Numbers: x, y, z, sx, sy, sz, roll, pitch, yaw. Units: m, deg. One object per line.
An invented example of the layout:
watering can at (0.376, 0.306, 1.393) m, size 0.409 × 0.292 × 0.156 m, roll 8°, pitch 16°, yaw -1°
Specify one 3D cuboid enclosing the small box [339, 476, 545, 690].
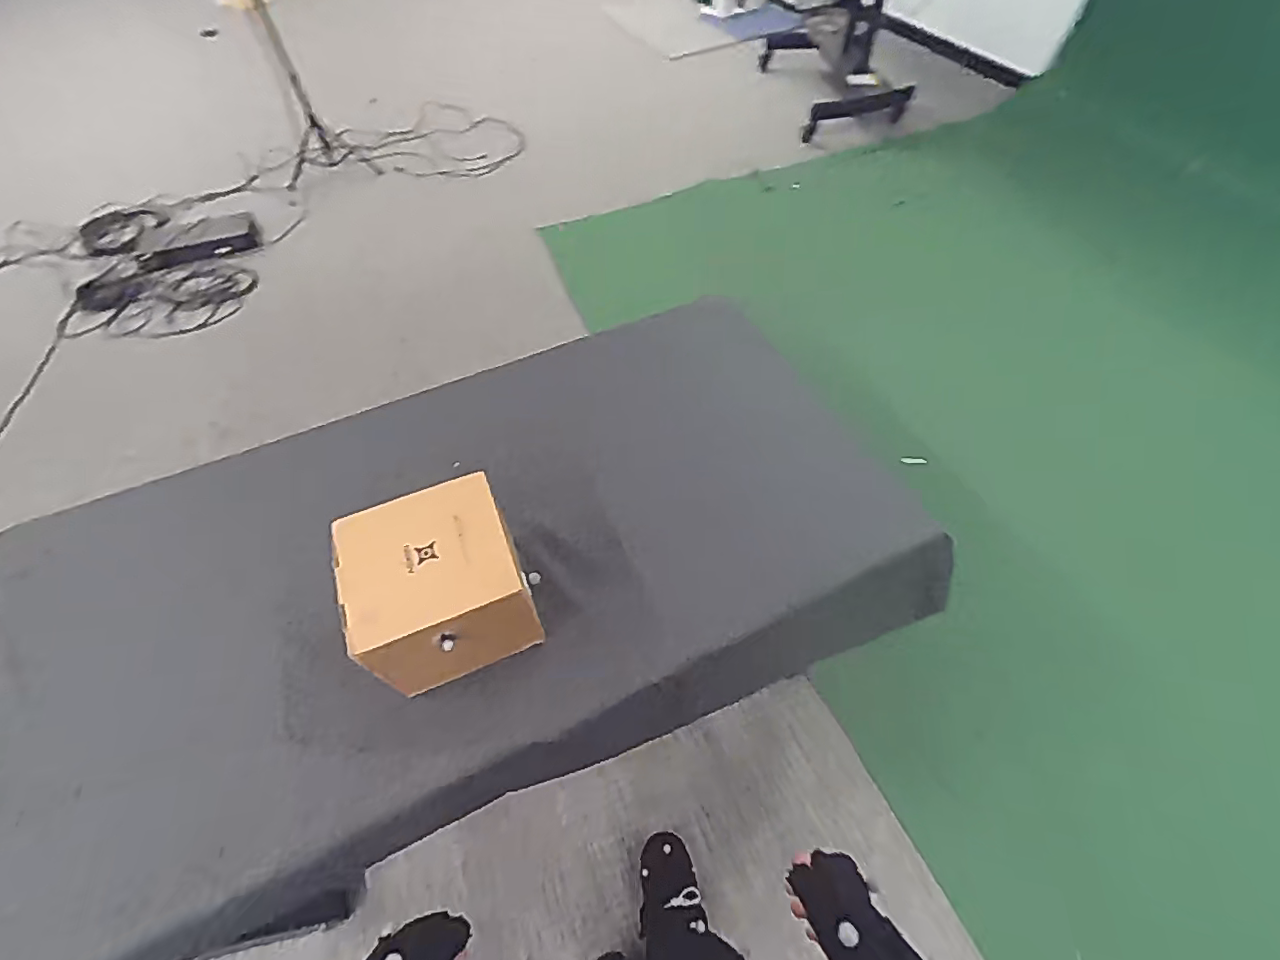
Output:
small box at (-0.231, 0.130, 0.656) m, size 0.179 × 0.176 × 0.168 m, roll -20°, pitch 58°, yaw -14°
